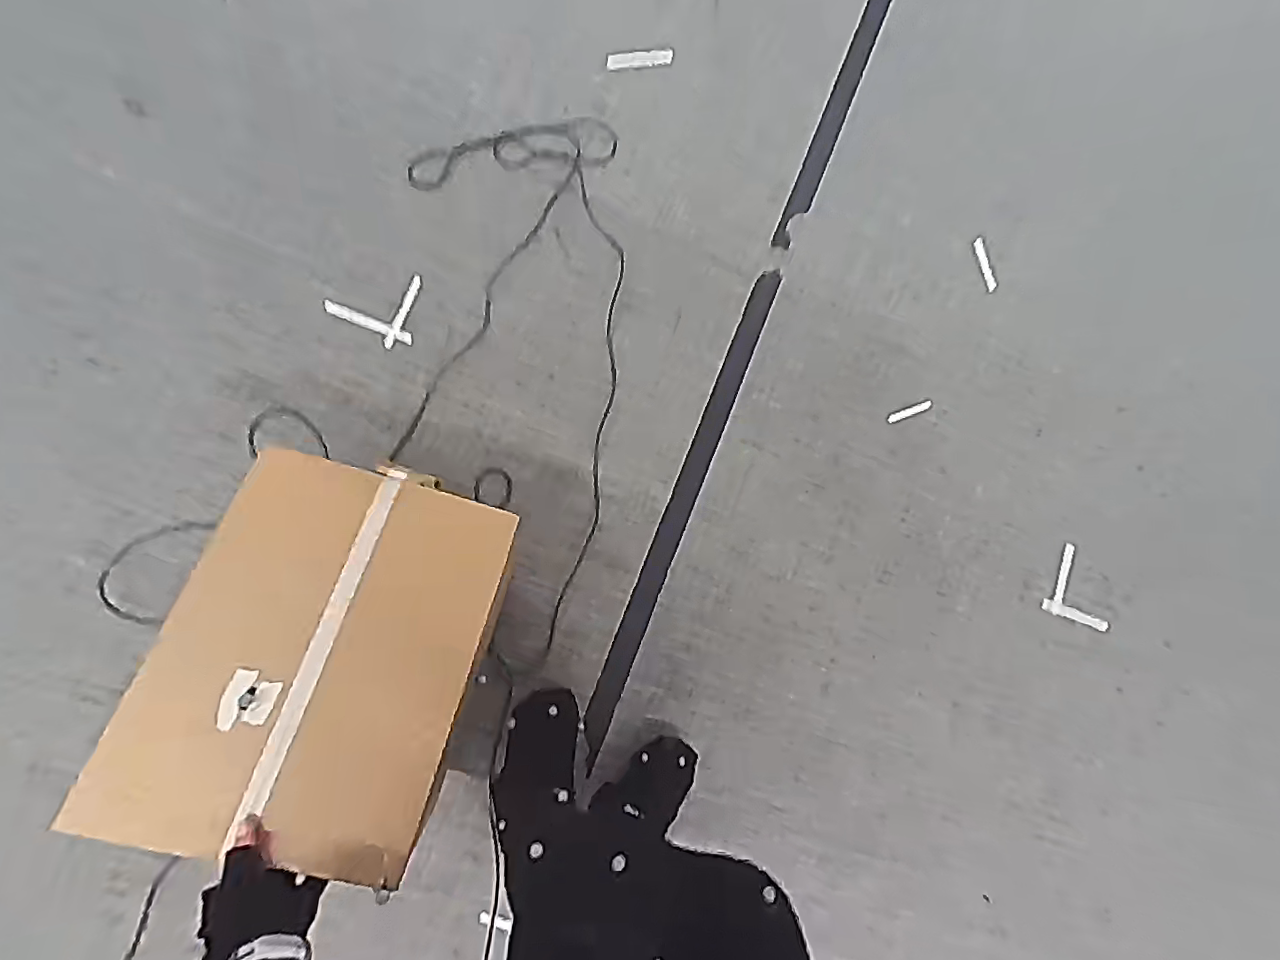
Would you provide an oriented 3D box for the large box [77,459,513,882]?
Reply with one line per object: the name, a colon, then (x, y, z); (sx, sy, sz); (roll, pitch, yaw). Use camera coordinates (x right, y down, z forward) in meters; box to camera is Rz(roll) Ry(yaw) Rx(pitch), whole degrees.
large box: (-0.385, 0.242, 0.741); (0.320, 0.320, 0.408); (17, 66, -8)
